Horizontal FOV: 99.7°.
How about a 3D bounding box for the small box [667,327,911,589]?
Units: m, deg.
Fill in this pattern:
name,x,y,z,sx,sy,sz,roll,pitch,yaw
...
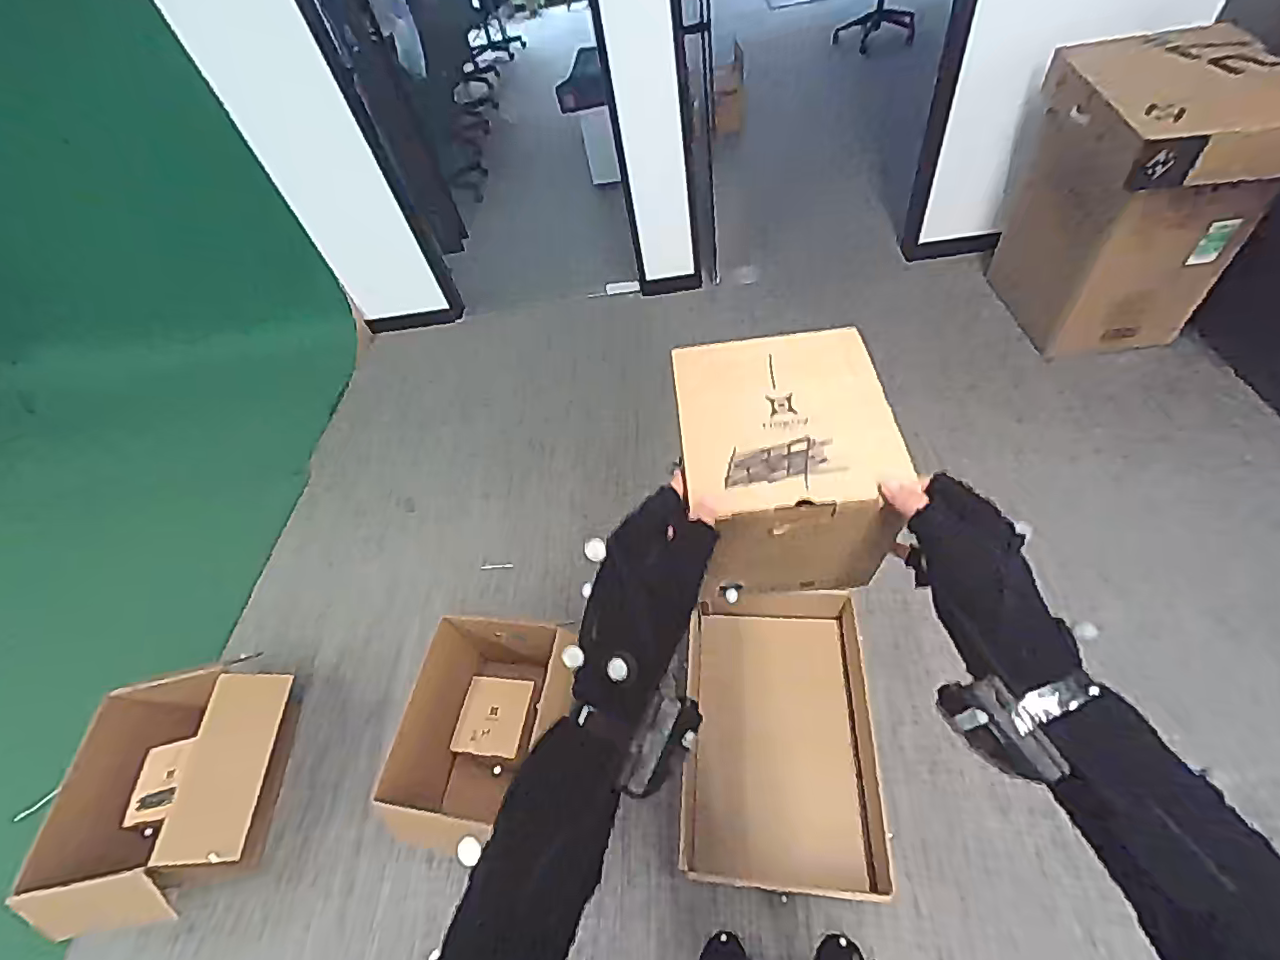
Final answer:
name,x,y,z,sx,sy,sz,roll,pitch,yaw
small box,0.118,-0.009,0.495,0.168,0.176,0.179,-6,55,4
